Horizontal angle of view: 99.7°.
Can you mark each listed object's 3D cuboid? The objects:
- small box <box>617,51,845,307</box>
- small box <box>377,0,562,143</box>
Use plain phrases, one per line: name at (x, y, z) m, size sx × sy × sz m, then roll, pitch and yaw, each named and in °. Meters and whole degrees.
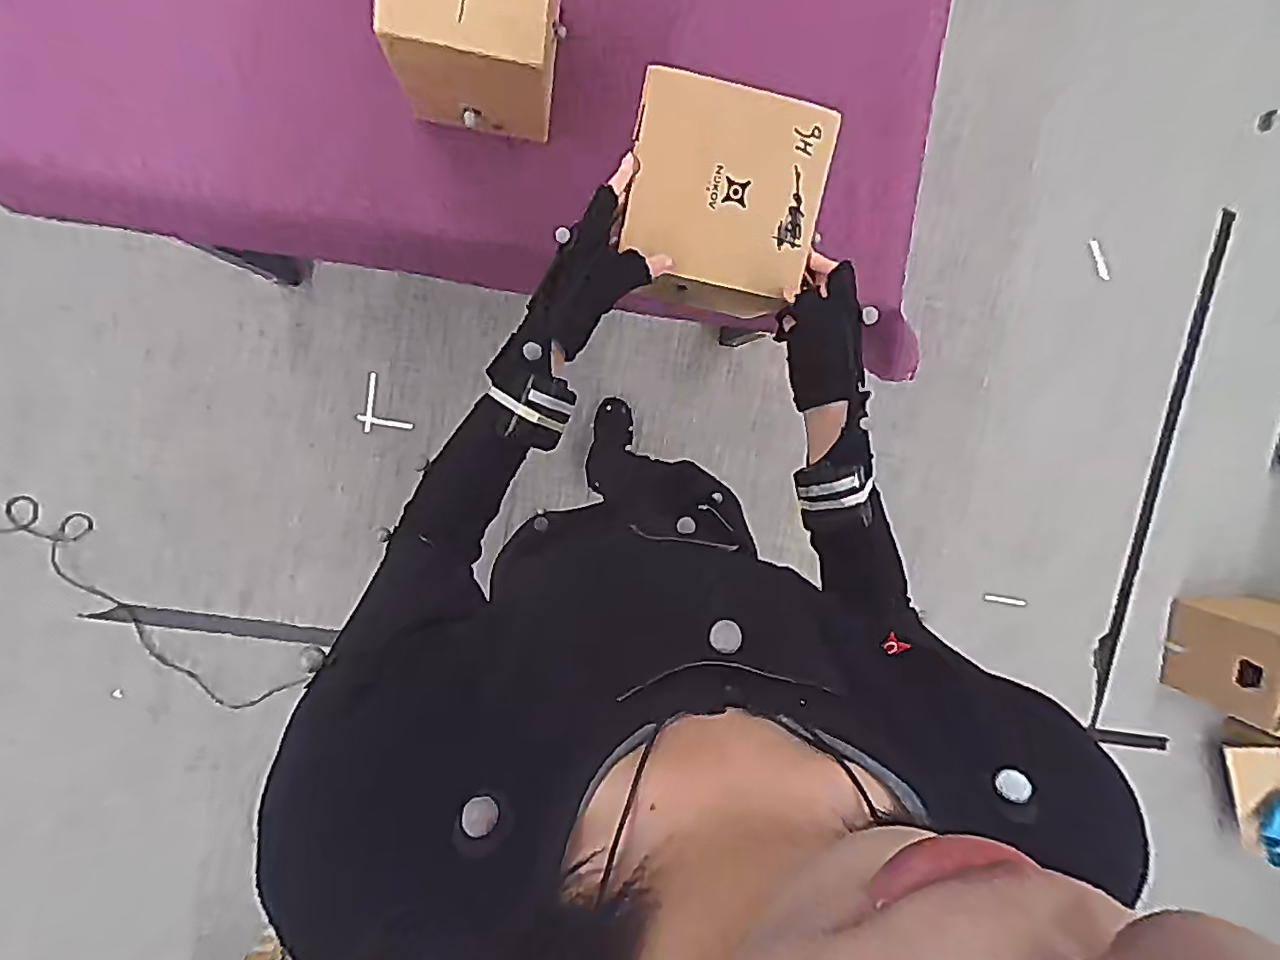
small box at (0.076, -0.285, 0.556) m, size 0.179 × 0.176 × 0.168 m, roll 11°, pitch 100°, yaw -5°
small box at (-0.176, -0.522, 0.606) m, size 0.168 × 0.176 × 0.179 m, roll 6°, pitch 97°, yaw -9°
